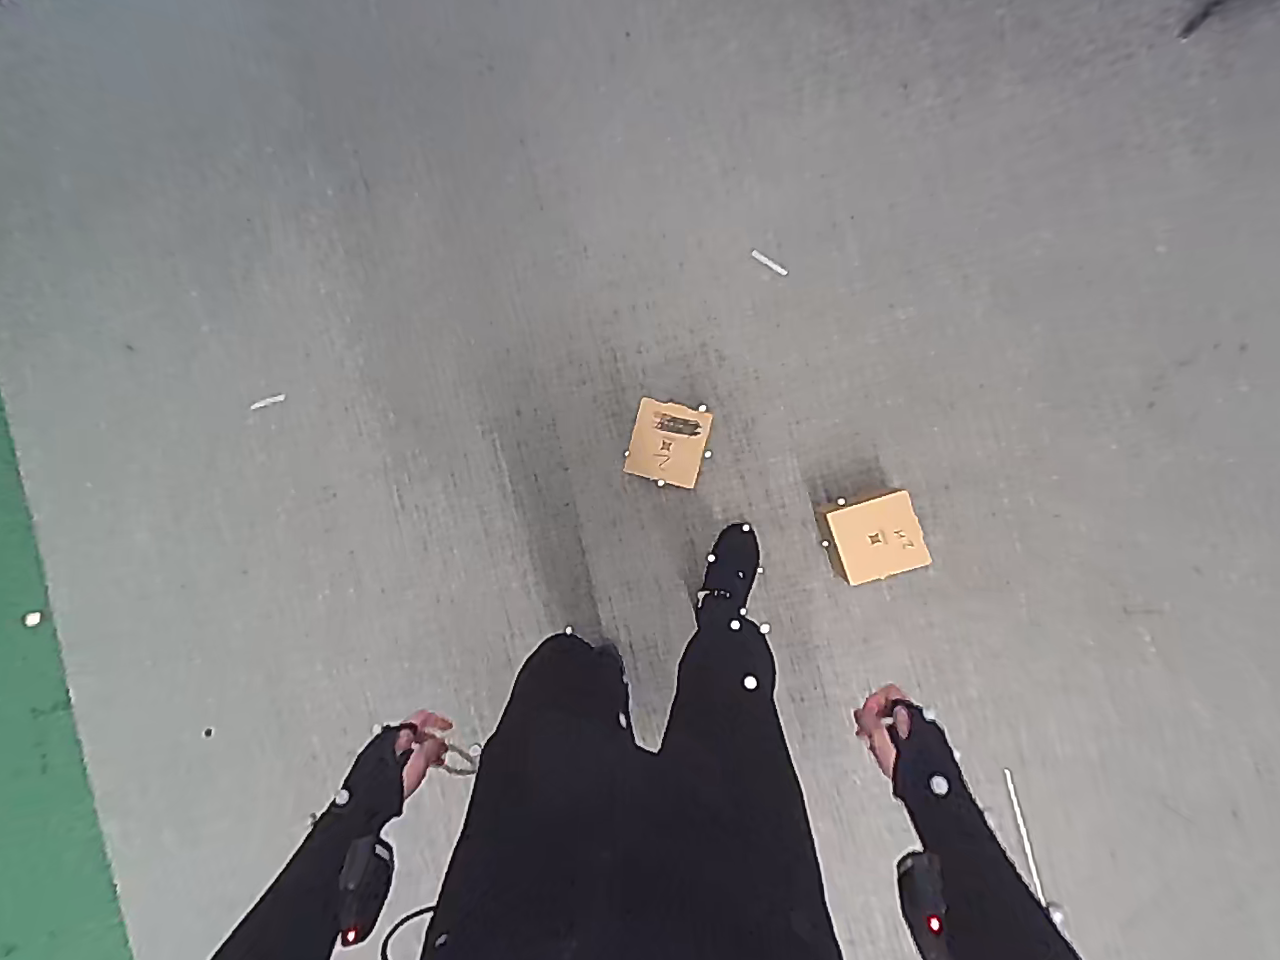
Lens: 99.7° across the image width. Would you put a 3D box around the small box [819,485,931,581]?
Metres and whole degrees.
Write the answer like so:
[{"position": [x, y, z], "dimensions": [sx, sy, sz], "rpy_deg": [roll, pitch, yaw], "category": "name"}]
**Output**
[{"position": [0.515, 0.114, 1.219], "dimensions": [0.179, 0.176, 0.168], "rpy_deg": [-18, 89, 8], "category": "small box"}]
